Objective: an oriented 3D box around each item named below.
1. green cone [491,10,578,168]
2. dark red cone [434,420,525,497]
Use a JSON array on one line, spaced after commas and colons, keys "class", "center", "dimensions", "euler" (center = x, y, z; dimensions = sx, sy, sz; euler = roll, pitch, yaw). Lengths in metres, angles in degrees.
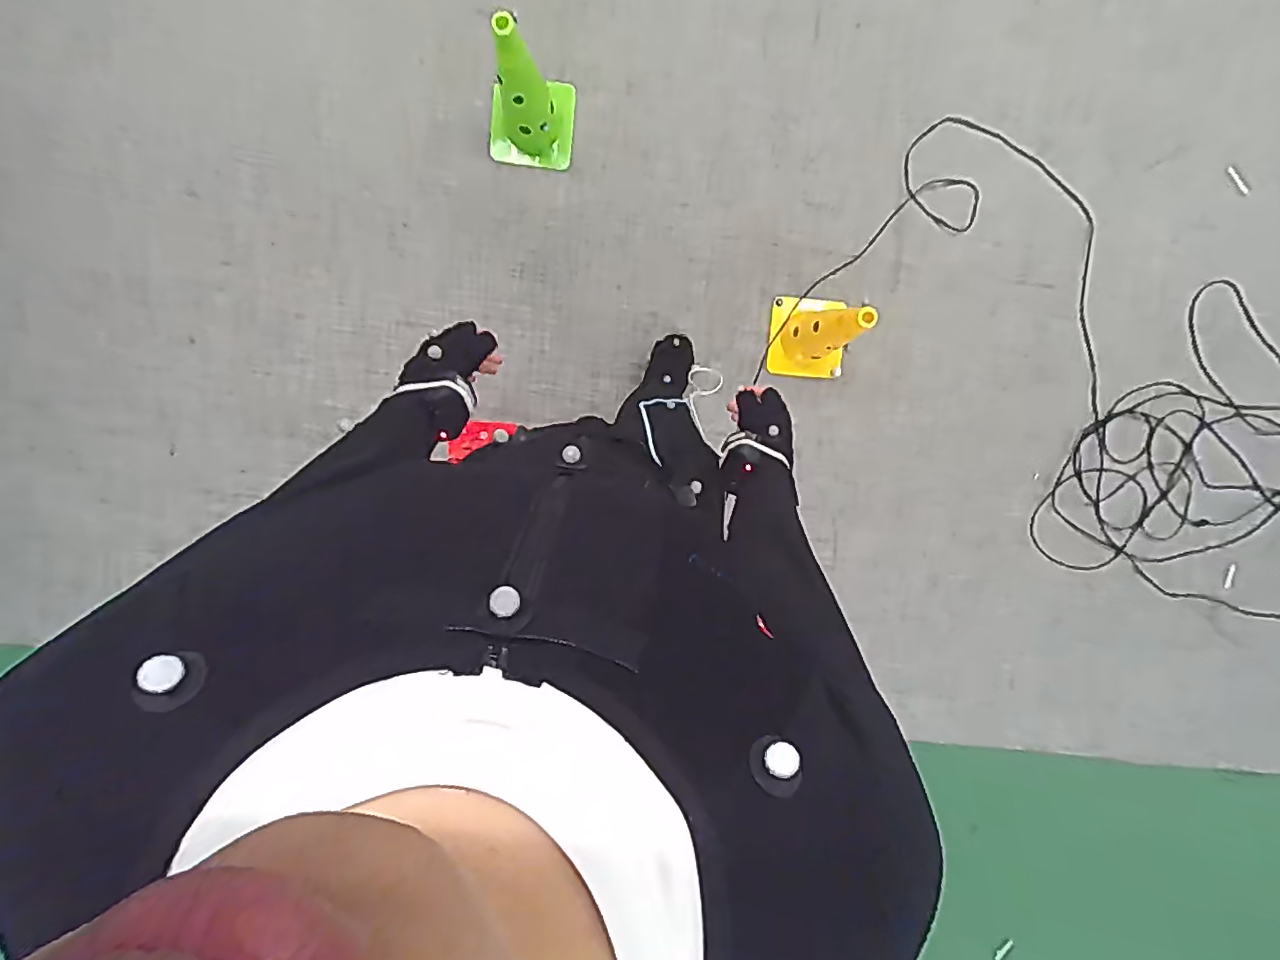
[{"class": "green cone", "center": [-0.250, -0.858, 1.161], "dimensions": [0.202, 0.368, 0.200], "euler": [6, 99, -4]}, {"class": "dark red cone", "center": [-0.397, -0.029, 1.253], "dimensions": [0.202, 0.394, 0.201], "euler": [2, 100, -2]}]
